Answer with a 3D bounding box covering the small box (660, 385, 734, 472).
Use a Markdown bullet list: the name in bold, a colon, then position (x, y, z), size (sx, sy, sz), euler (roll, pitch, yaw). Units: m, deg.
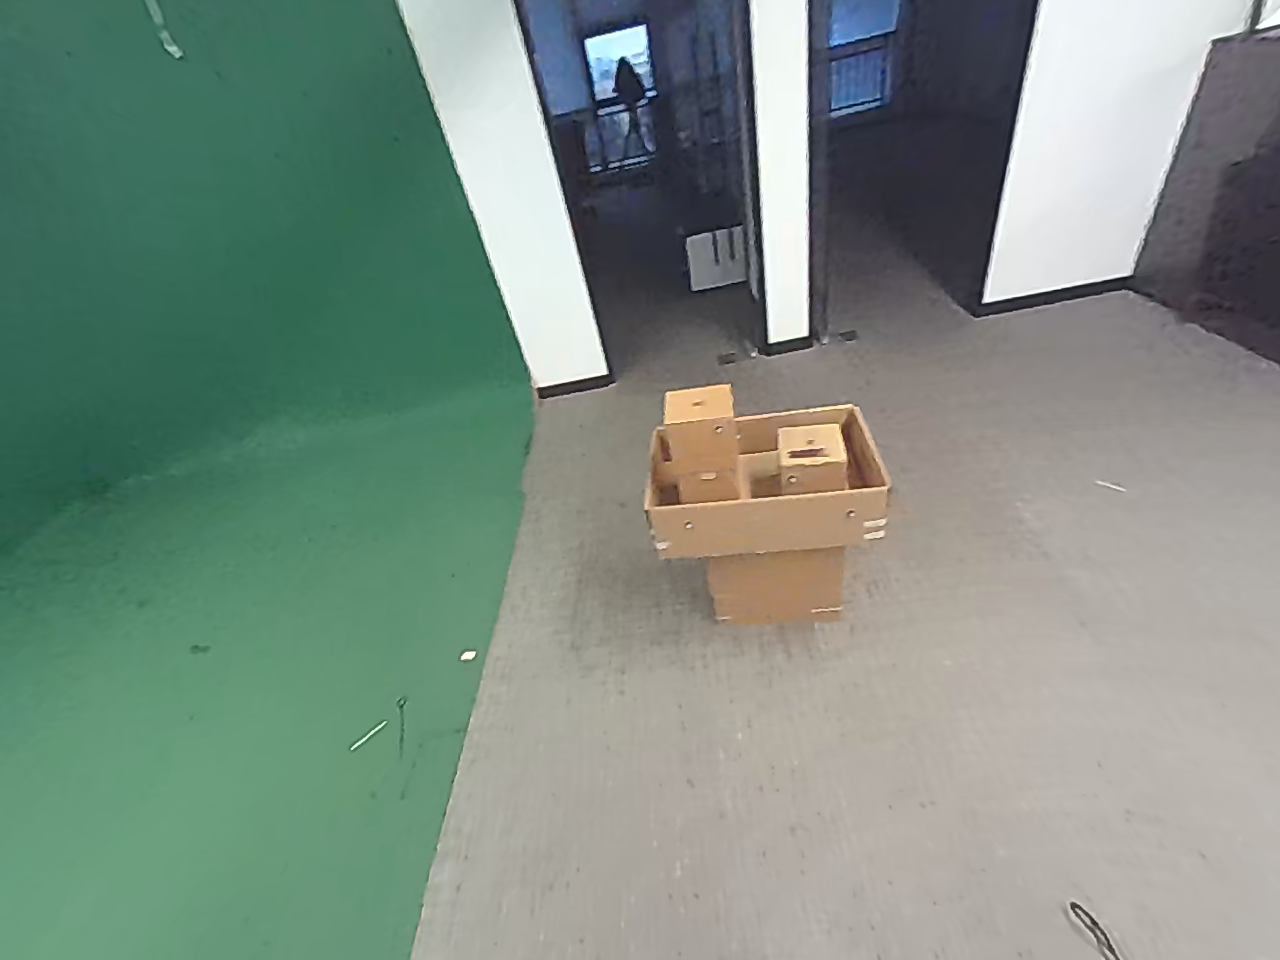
- **small box**: position (0.154, -0.136, 1.455), size (0.179, 0.176, 0.168), euler (-5, 39, 8)
